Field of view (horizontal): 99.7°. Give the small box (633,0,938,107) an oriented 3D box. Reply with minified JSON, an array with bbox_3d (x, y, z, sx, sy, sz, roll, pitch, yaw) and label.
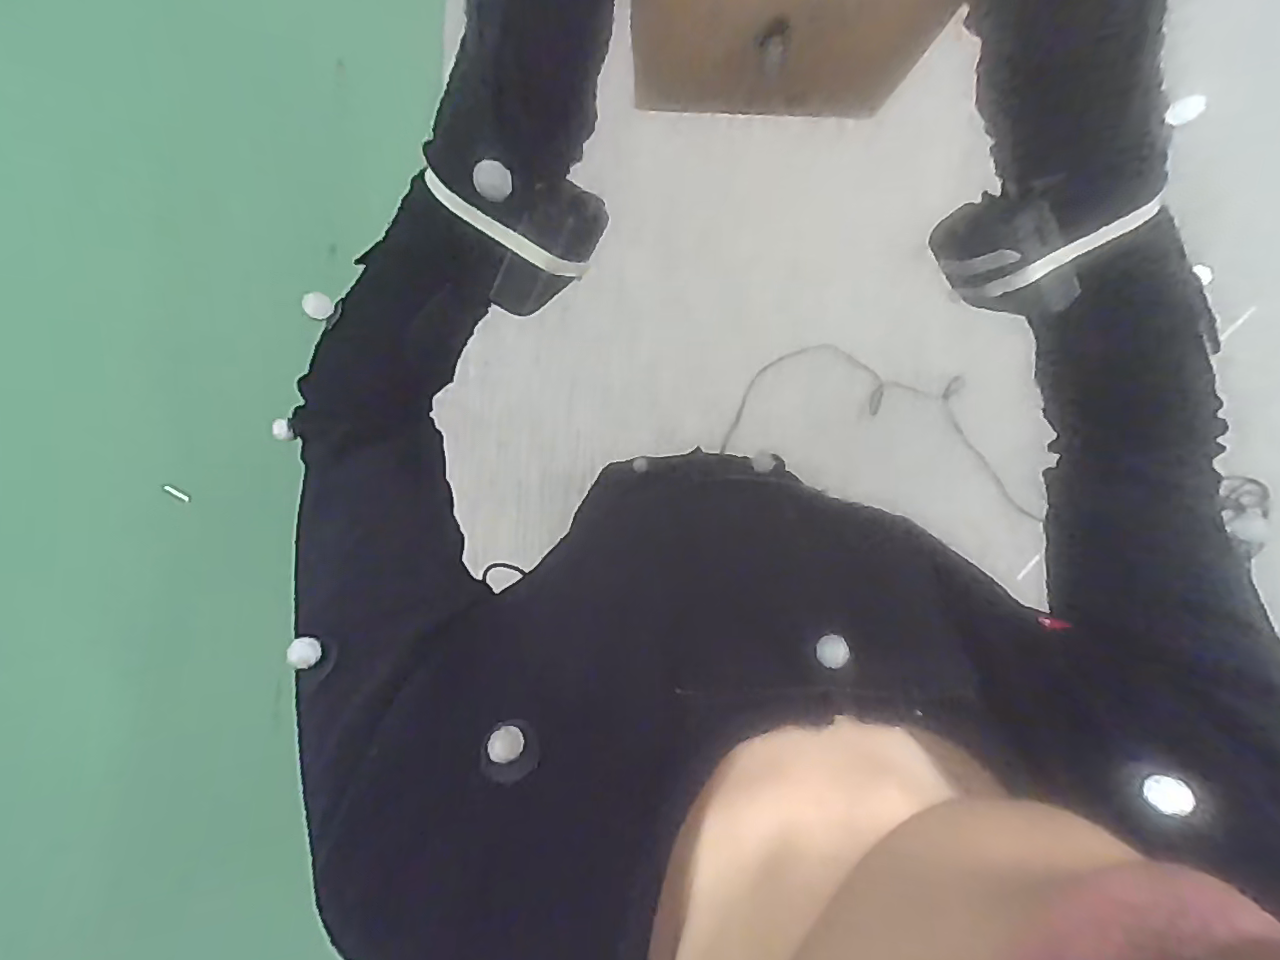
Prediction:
[{"bbox_3d":[0.081,-0.331,0.282,0.168,0.176,0.179,2,95,-1],"label":"small box"}]
